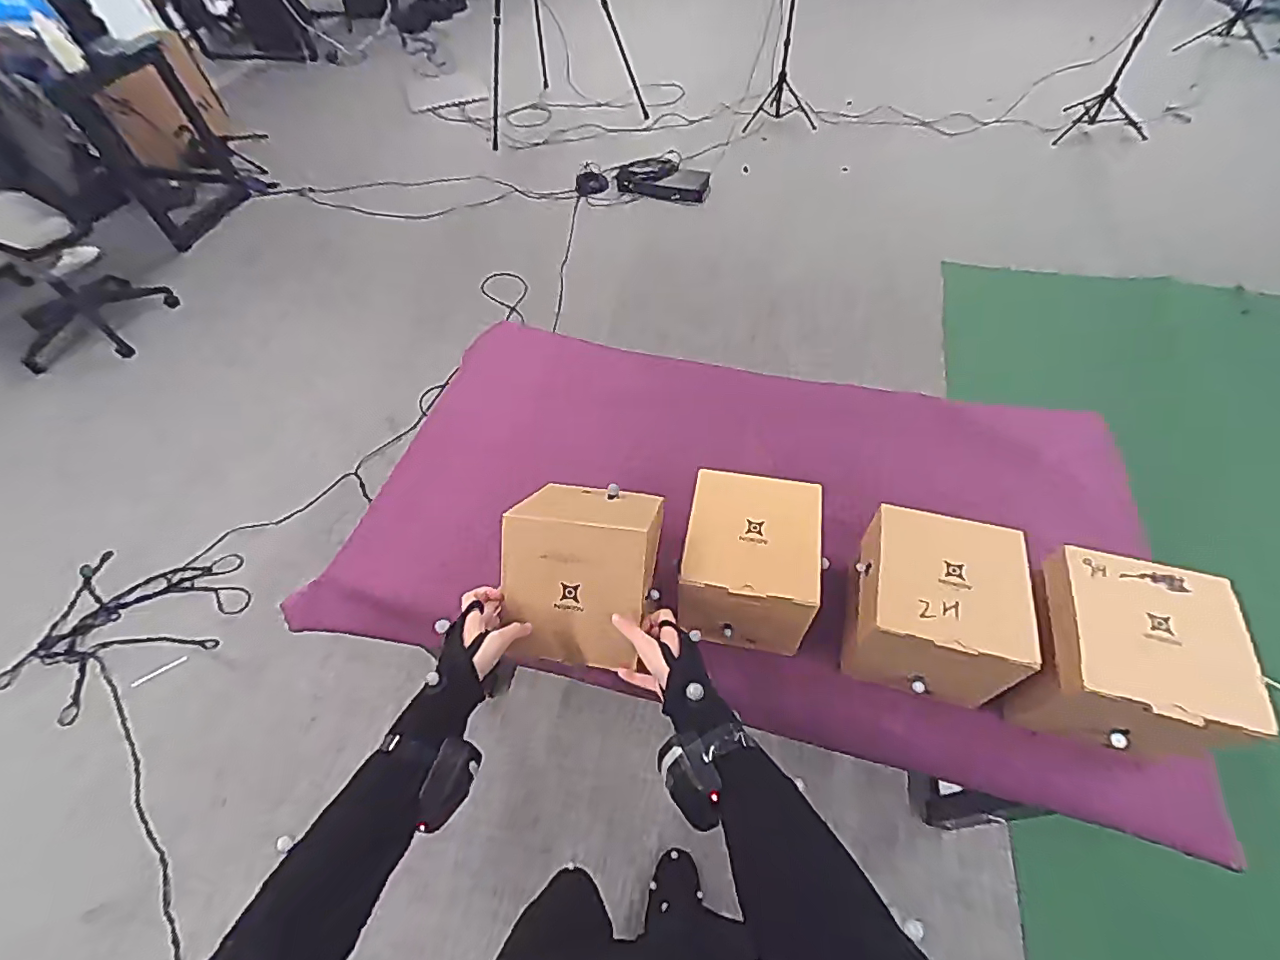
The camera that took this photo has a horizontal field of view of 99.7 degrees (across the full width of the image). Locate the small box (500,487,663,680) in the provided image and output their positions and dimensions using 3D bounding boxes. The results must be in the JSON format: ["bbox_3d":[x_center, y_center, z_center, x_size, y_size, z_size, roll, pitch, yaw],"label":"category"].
[{"bbox_3d":[-0.066,0.119,0.684,0.168,0.179,0.176,6,13,8],"label":"small box"}]
